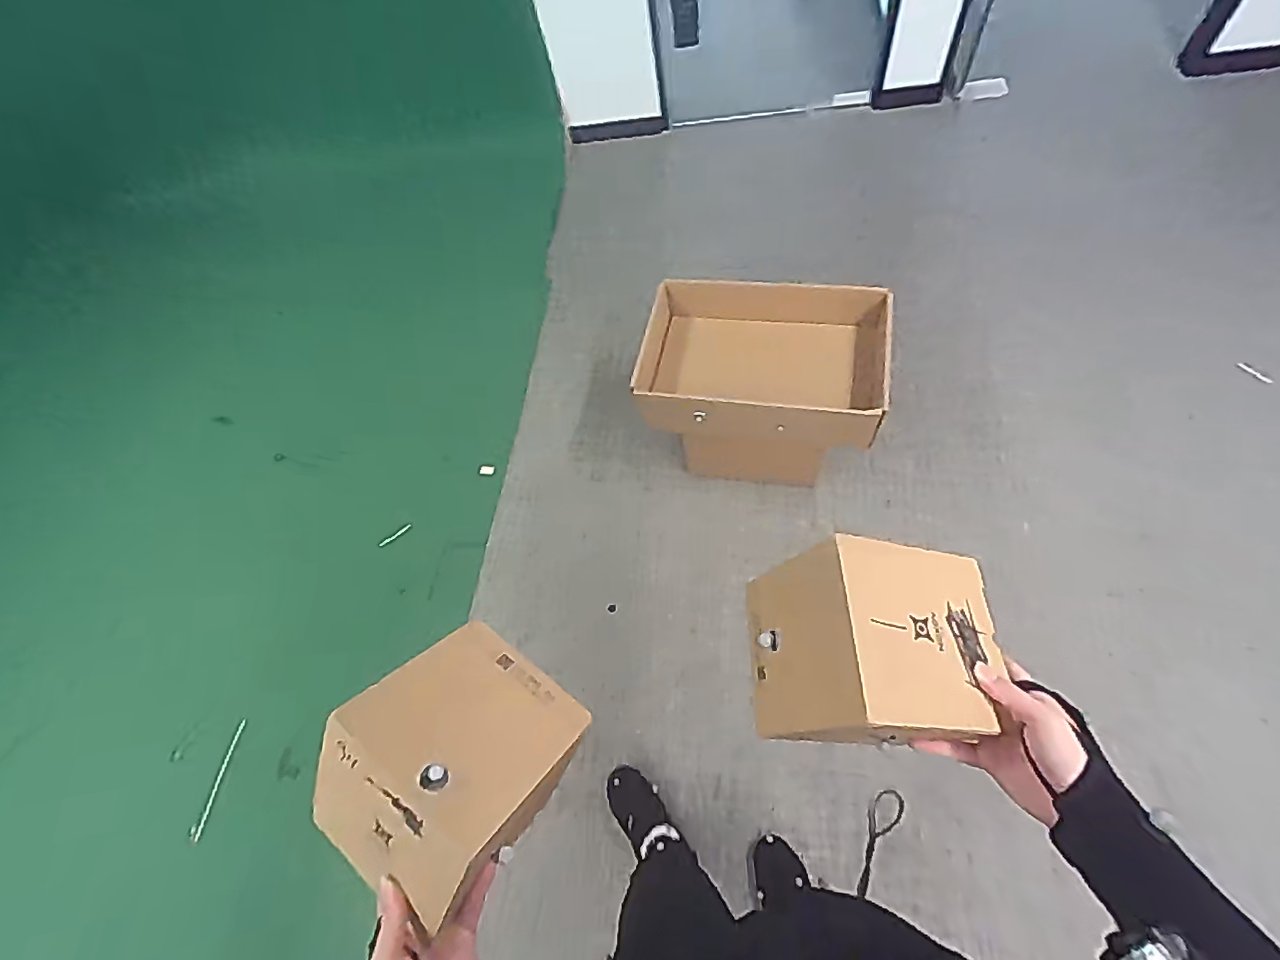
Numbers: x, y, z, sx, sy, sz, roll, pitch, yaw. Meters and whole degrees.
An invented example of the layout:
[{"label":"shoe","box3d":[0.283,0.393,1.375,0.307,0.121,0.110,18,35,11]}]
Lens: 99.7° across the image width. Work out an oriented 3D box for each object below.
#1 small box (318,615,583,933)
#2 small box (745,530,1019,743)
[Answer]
[{"label":"small box","box3d":[-0.181,0.272,0.530,0.168,0.179,0.176,34,30,17]},{"label":"small box","box3d":[0.226,0.170,0.551,0.179,0.176,0.168,12,59,-15]}]
